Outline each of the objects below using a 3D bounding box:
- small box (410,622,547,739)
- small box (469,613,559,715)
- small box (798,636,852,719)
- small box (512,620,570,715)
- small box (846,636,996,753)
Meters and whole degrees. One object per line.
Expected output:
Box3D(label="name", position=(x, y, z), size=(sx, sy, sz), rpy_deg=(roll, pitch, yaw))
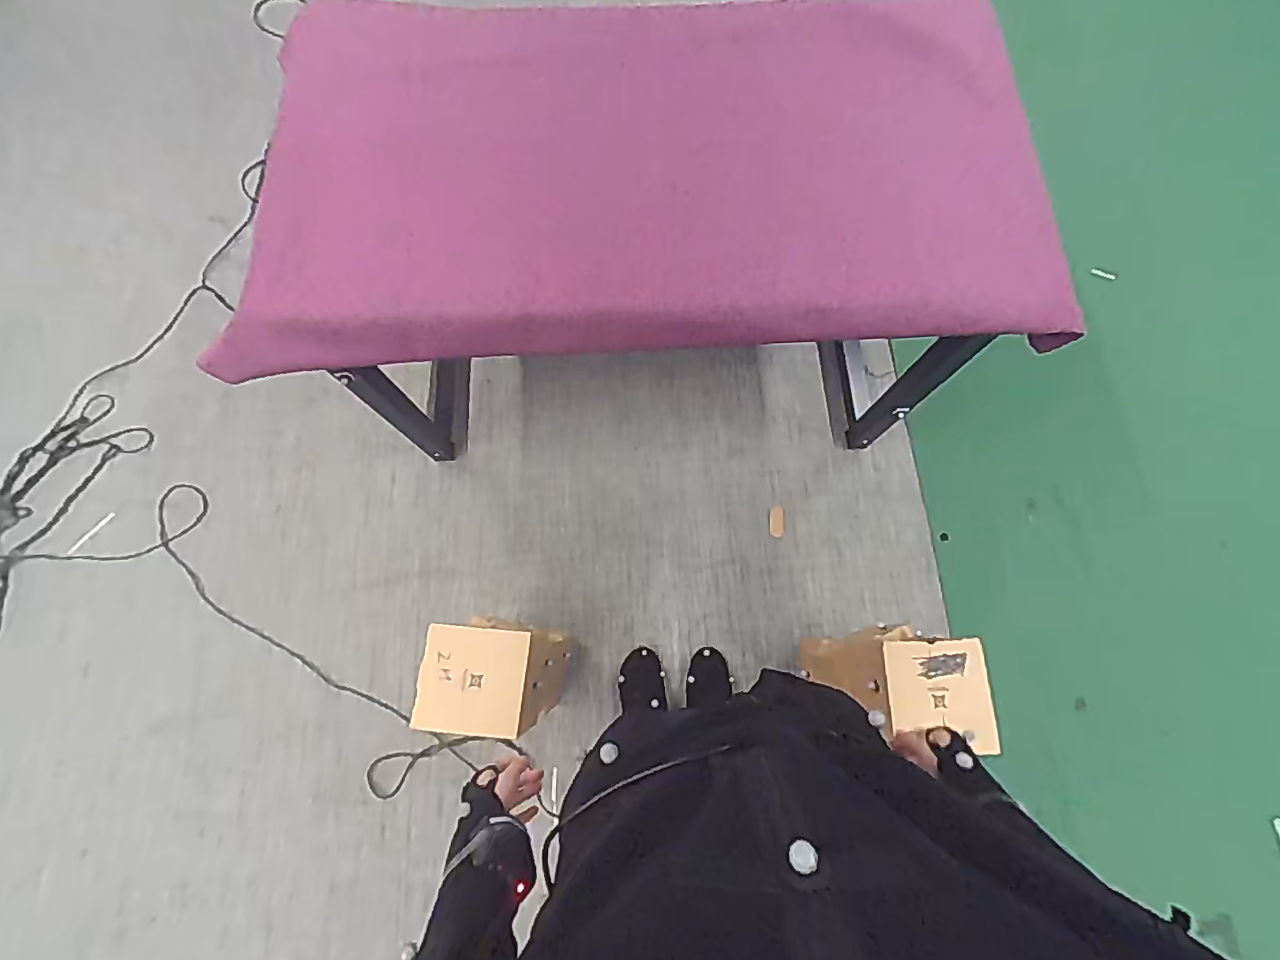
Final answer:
Box3D(label="small box", position=(-0.270, 0.343, 0.950), size=(0.179, 0.176, 0.168), rpy_deg=(5, 73, 3))
Box3D(label="small box", position=(-0.277, 0.387, 1.109), size=(0.168, 0.176, 0.179), rpy_deg=(17, 74, 6))
Box3D(label="small box", position=(0.474, 0.459, 1.254), size=(0.179, 0.176, 0.168), rpy_deg=(7, 75, 3))
Box3D(label="small box", position=(-0.268, 0.429, 1.265), size=(0.168, 0.176, 0.179), rpy_deg=(12, 75, 4))
Box3D(label="small box", position=(0.472, 0.362, 0.940), size=(0.168, 0.176, 0.179), rpy_deg=(-1, 75, -1))
